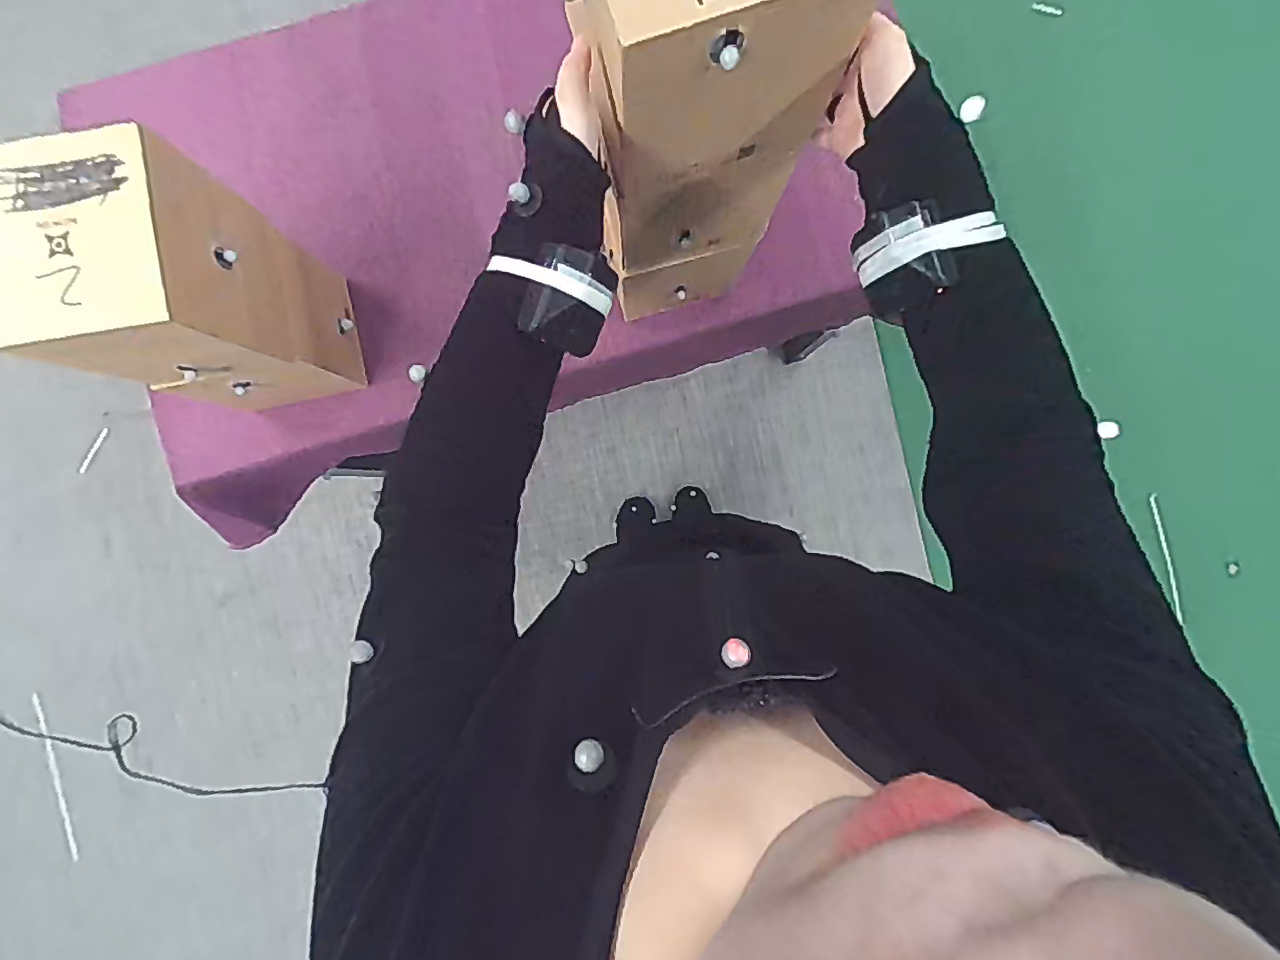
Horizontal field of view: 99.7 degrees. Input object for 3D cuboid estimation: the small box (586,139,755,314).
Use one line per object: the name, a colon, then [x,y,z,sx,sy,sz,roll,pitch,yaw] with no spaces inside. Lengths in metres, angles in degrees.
small box: [0.036,-0.332,0.707,0.168,0.176,0.179,-15,89,0]

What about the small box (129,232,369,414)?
small box: [-0.492,-0.190,0.705,0.179,0.176,0.168,-13,89,-1]

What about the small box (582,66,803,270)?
small box: [0.040,-0.343,0.544,0.168,0.176,0.179,-15,91,0]

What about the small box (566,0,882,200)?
small box: [0.041,-0.340,0.379,0.168,0.176,0.179,-18,89,0]
